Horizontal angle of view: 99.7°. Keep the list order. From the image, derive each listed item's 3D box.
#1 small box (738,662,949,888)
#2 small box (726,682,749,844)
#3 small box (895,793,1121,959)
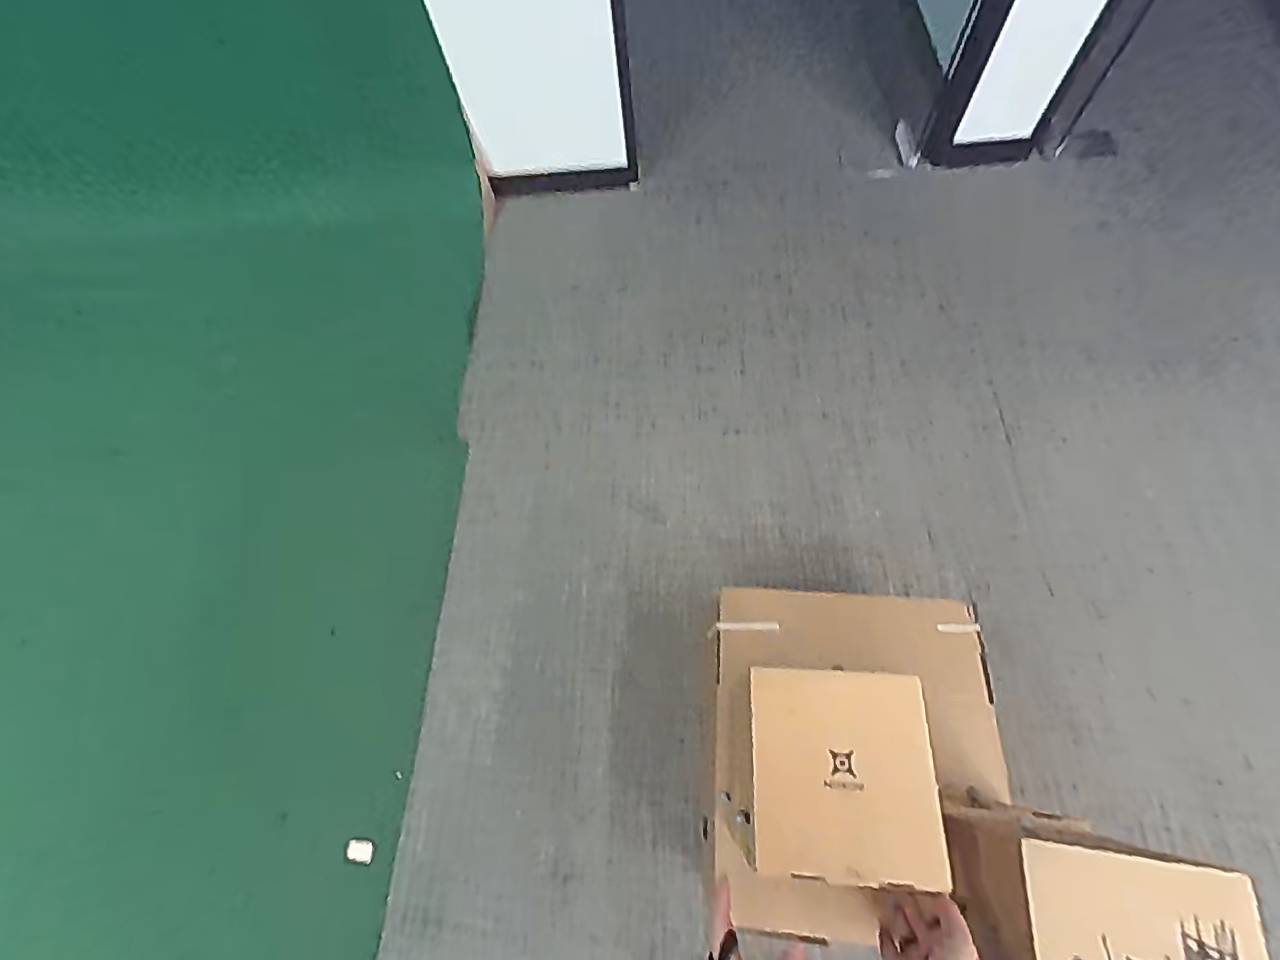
[{"bbox_3d":[0.192,0.299,0.571,0.168,0.176,0.179,1,64,6],"label":"small box"},{"bbox_3d":[0.203,0.375,0.715,0.168,0.176,0.179,2,63,7],"label":"small box"},{"bbox_3d":[0.411,0.478,0.639,0.168,0.176,0.179,4,63,7],"label":"small box"}]
